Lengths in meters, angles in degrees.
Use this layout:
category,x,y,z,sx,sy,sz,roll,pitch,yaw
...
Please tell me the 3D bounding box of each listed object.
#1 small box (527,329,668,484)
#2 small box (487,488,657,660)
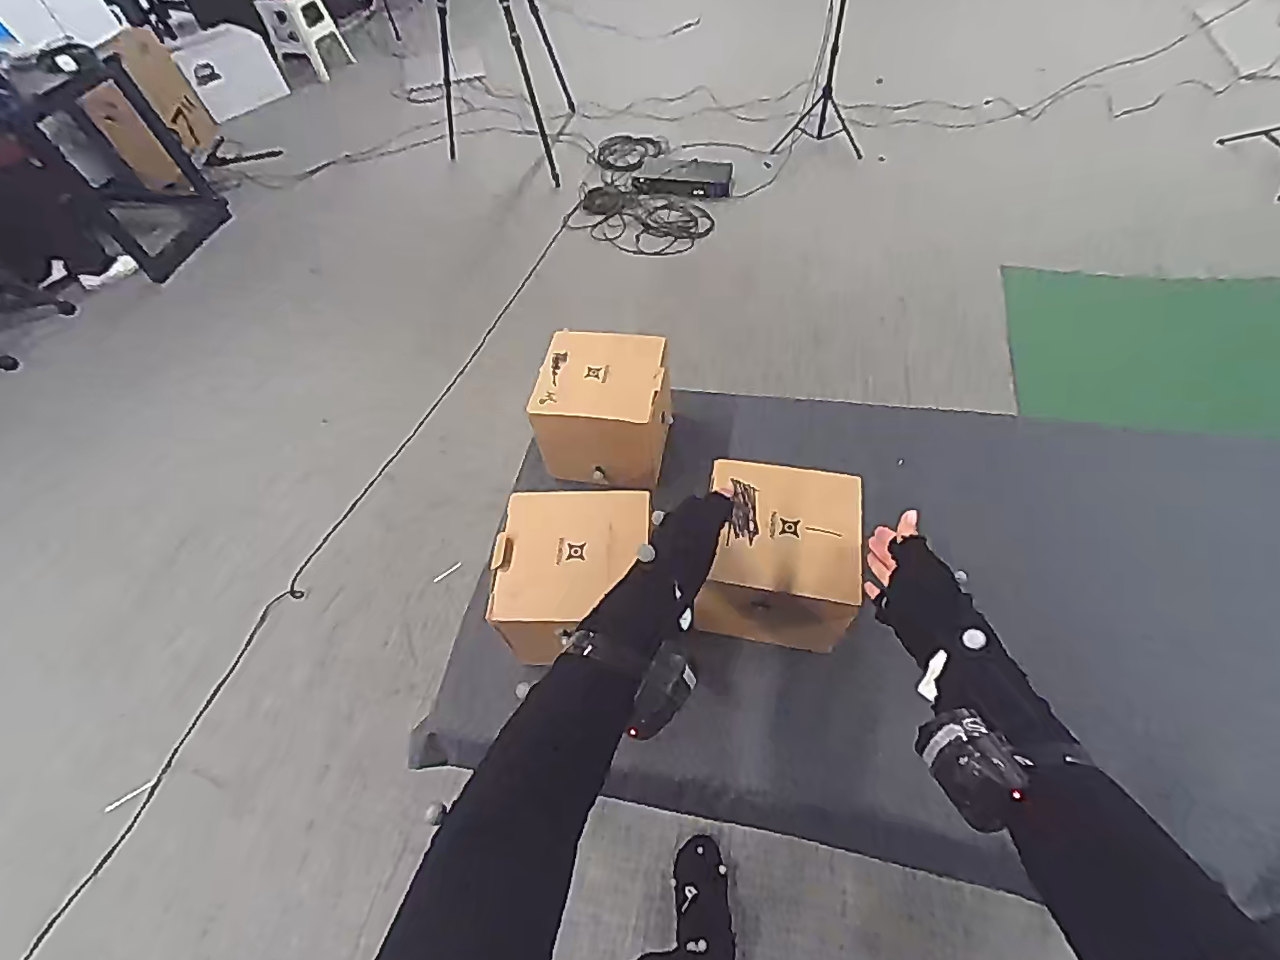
category,x,y,z,sx,sy,sz,roll,pitch,yaw
small box,-0.053,-0.109,0.840,0.179,0.176,0.168,7,58,8
small box,-0.071,0.123,0.687,0.179,0.176,0.168,0,56,4
